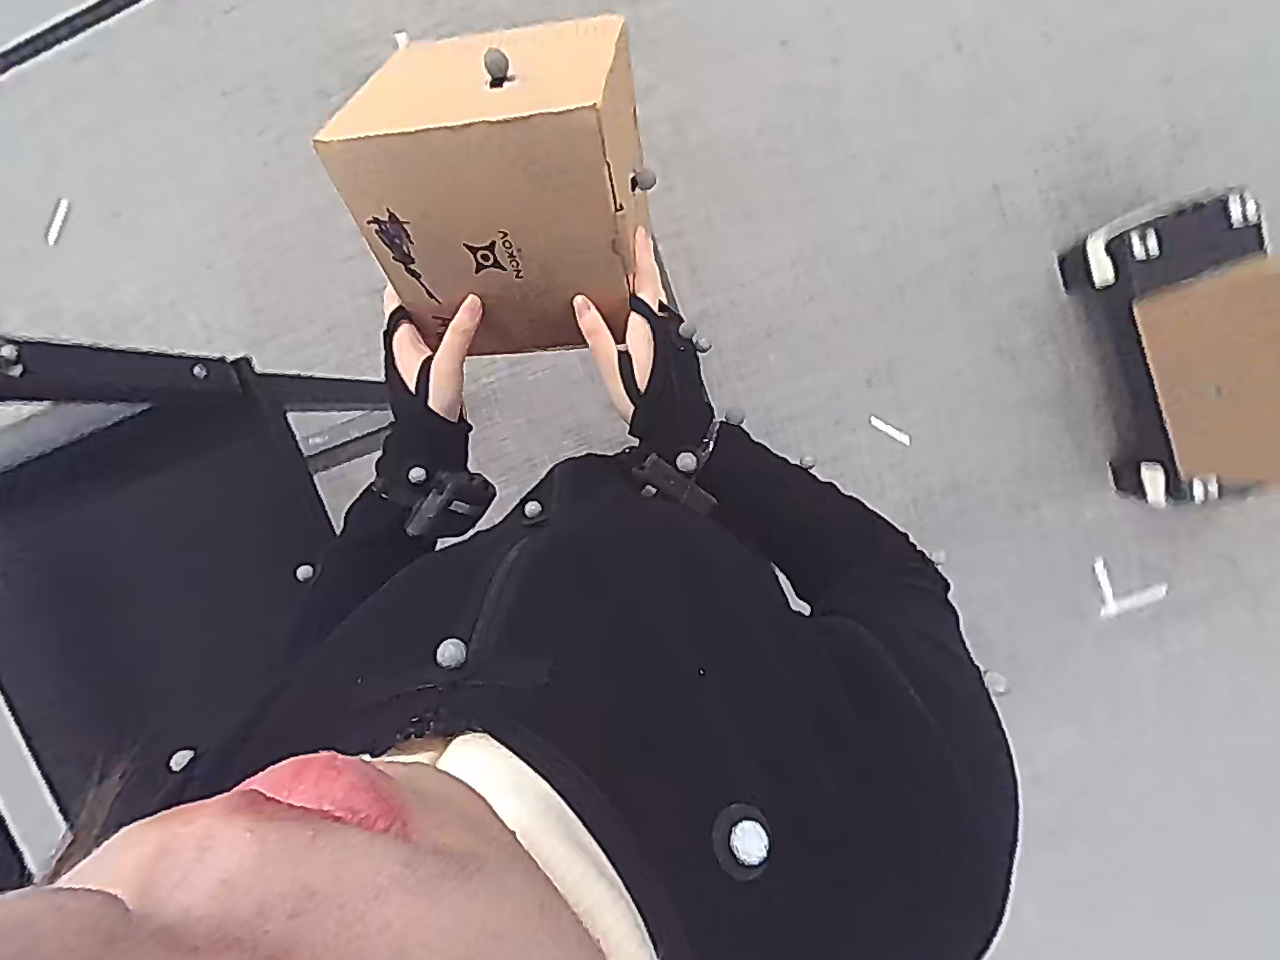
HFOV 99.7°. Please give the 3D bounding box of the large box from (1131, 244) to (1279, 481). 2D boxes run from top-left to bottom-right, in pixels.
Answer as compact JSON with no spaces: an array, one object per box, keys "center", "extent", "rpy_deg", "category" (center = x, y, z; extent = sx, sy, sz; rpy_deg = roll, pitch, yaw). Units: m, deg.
[{"center":[1.265,-0.240,1.028],"extent":[0.320,0.320,0.408],"rpy_deg":[-21,94,5],"category":"large box"}]
